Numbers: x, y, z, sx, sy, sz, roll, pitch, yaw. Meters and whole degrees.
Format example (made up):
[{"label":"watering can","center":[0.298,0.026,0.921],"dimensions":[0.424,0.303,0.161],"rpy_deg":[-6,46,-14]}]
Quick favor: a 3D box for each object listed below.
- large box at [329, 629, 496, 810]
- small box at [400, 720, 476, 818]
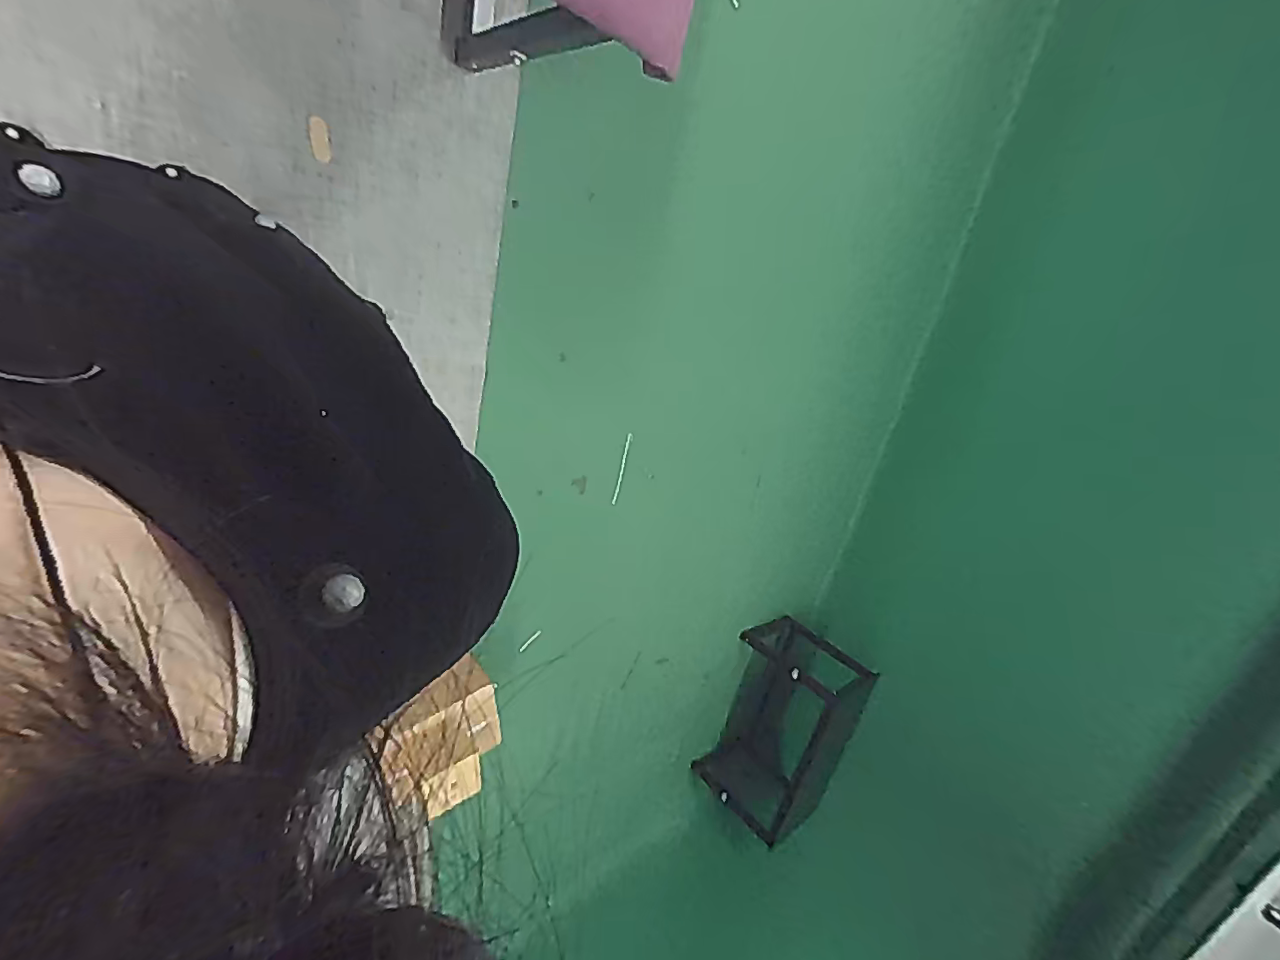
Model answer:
[{"label":"large box","center":[-0.758,0.786,1.829],"dimensions":[0.408,0.320,0.320],"rpy_deg":[-23,129,-37]},{"label":"small box","center":[-0.613,0.862,1.639],"dimensions":[0.168,0.176,0.179],"rpy_deg":[-15,123,-38]}]
